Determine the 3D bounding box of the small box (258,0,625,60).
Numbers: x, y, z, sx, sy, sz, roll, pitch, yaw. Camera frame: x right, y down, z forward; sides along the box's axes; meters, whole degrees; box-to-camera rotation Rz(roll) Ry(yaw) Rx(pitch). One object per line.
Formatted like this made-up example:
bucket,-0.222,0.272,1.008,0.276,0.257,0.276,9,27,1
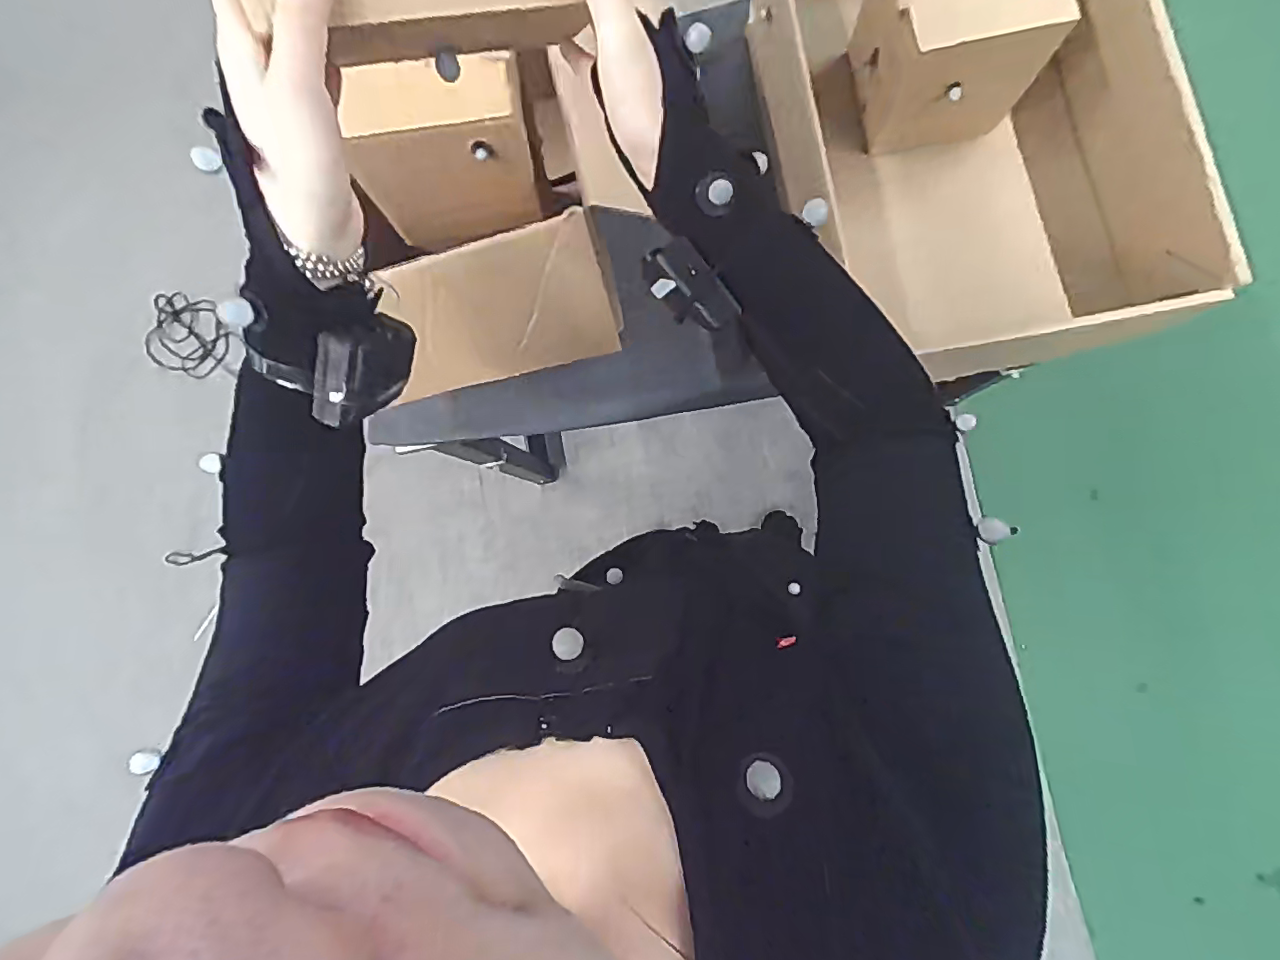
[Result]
small box,-0.112,-0.325,0.265,0.168,0.176,0.179,-12,128,-8
